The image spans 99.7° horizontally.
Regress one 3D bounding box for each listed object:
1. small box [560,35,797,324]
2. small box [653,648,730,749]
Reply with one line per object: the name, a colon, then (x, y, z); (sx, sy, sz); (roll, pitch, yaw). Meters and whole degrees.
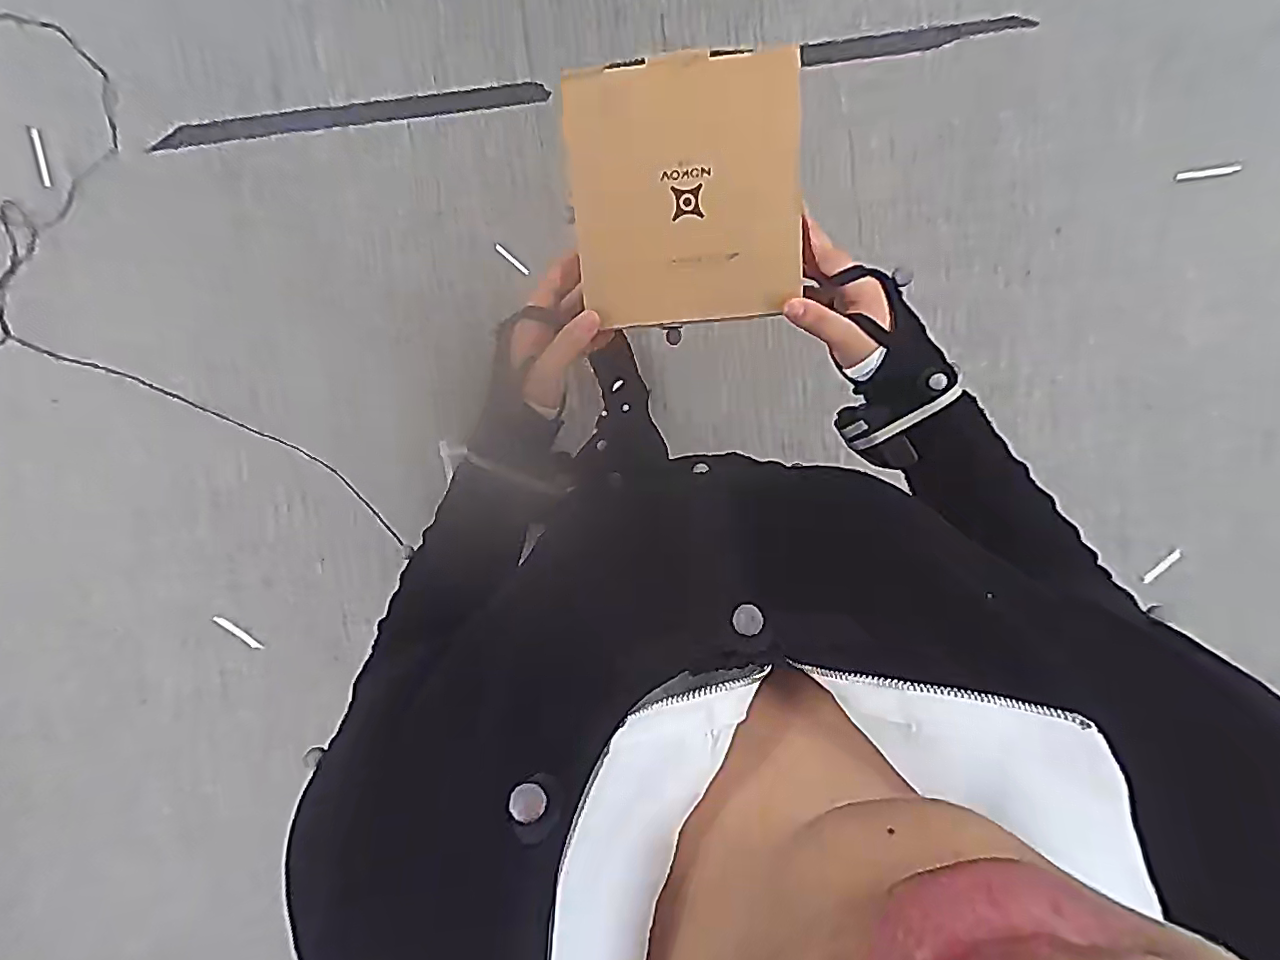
small box: (0.032, -0.232, 0.465); (0.168, 0.176, 0.179); (-4, 105, 3)
small box: (0.125, 0.544, 1.371); (0.168, 0.176, 0.179); (-10, 98, 2)
